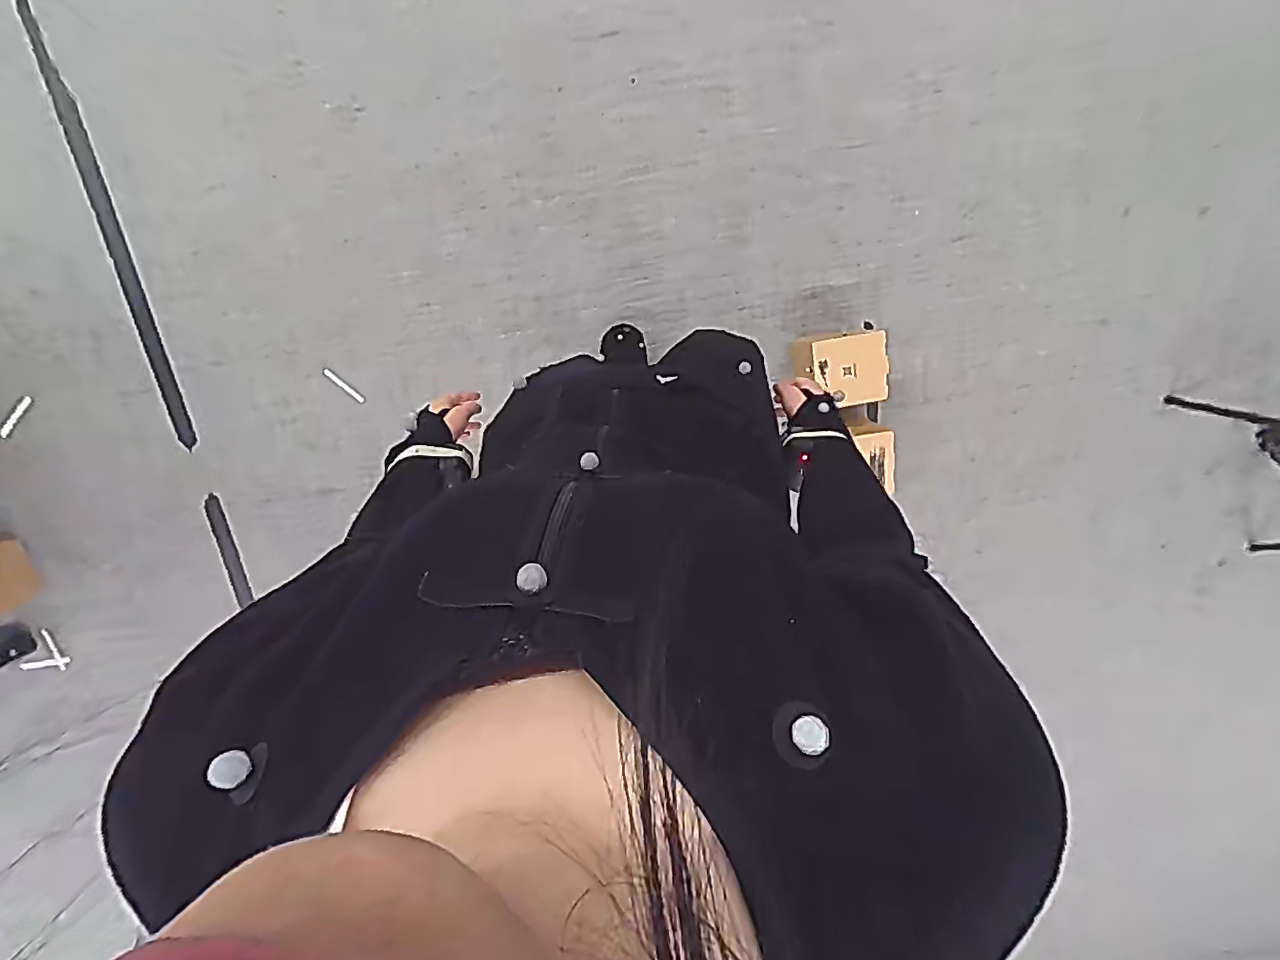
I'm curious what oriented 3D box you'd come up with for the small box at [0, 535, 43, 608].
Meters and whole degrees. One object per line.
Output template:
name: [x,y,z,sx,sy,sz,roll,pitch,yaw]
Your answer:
small box: [-1.787,0.262,1.452,0.168,0.176,0.179,-5,105,-1]
